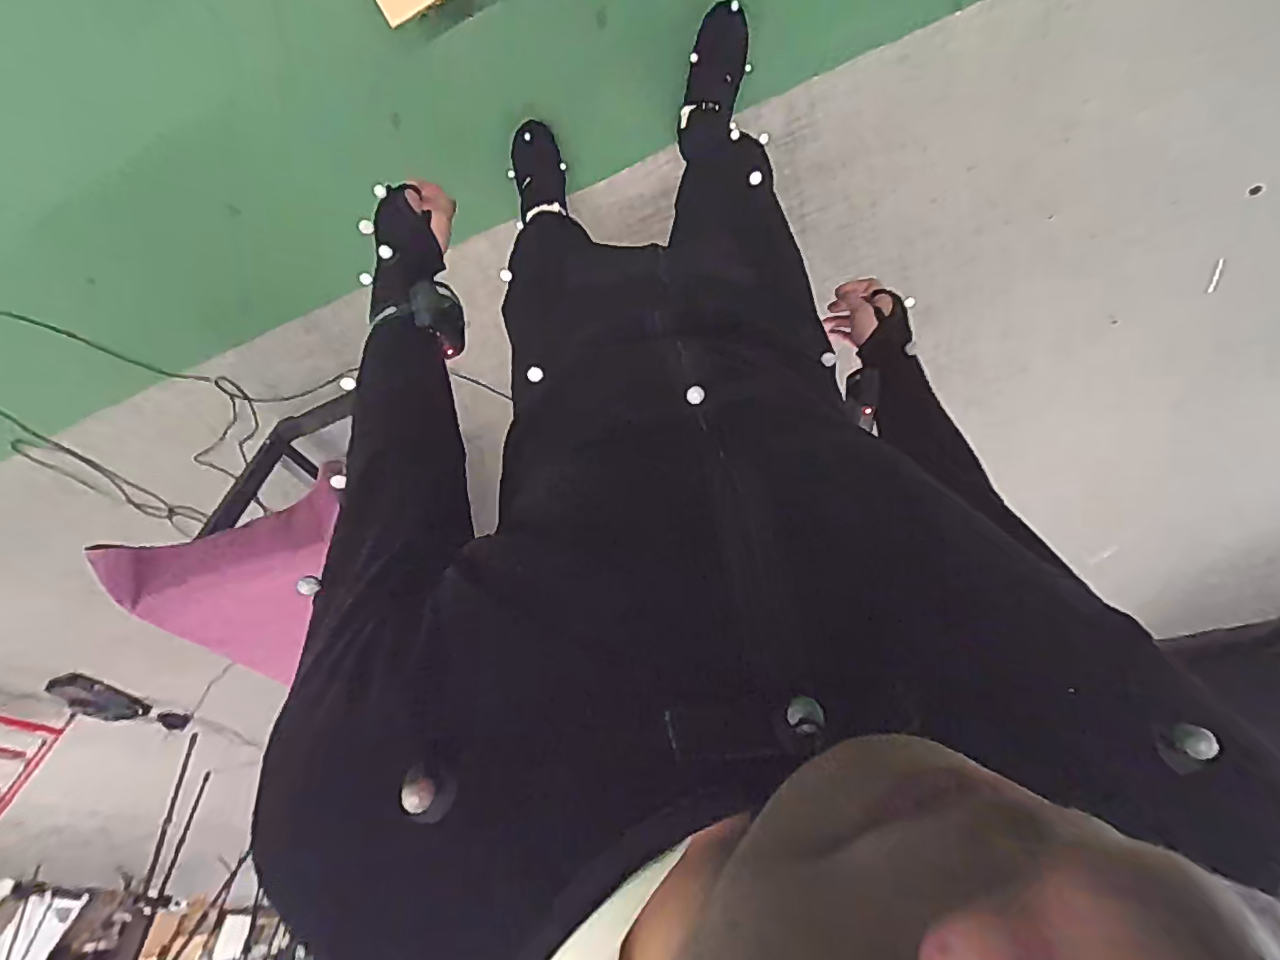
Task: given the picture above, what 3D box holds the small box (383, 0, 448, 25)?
[{"bbox_3d":[-0.396,-0.956,0.954,0.168,0.176,0.179,-17,132,16],"label":"small box"}]
